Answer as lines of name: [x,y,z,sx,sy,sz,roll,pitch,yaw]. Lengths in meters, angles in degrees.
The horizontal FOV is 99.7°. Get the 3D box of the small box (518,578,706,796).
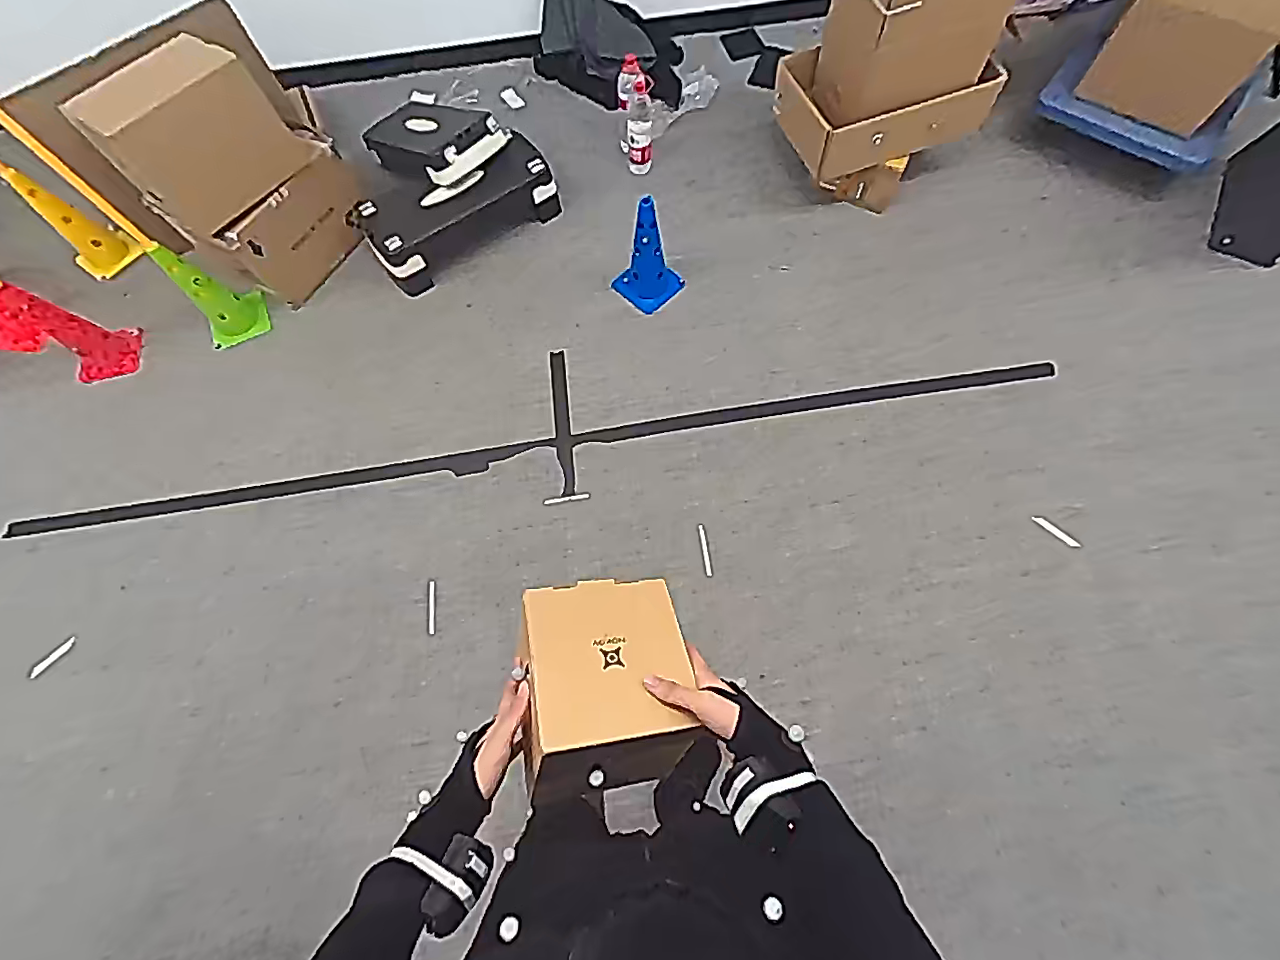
small box: [-0.046,0.235,0.610,0.168,0.176,0.179,-1,45,-18]
